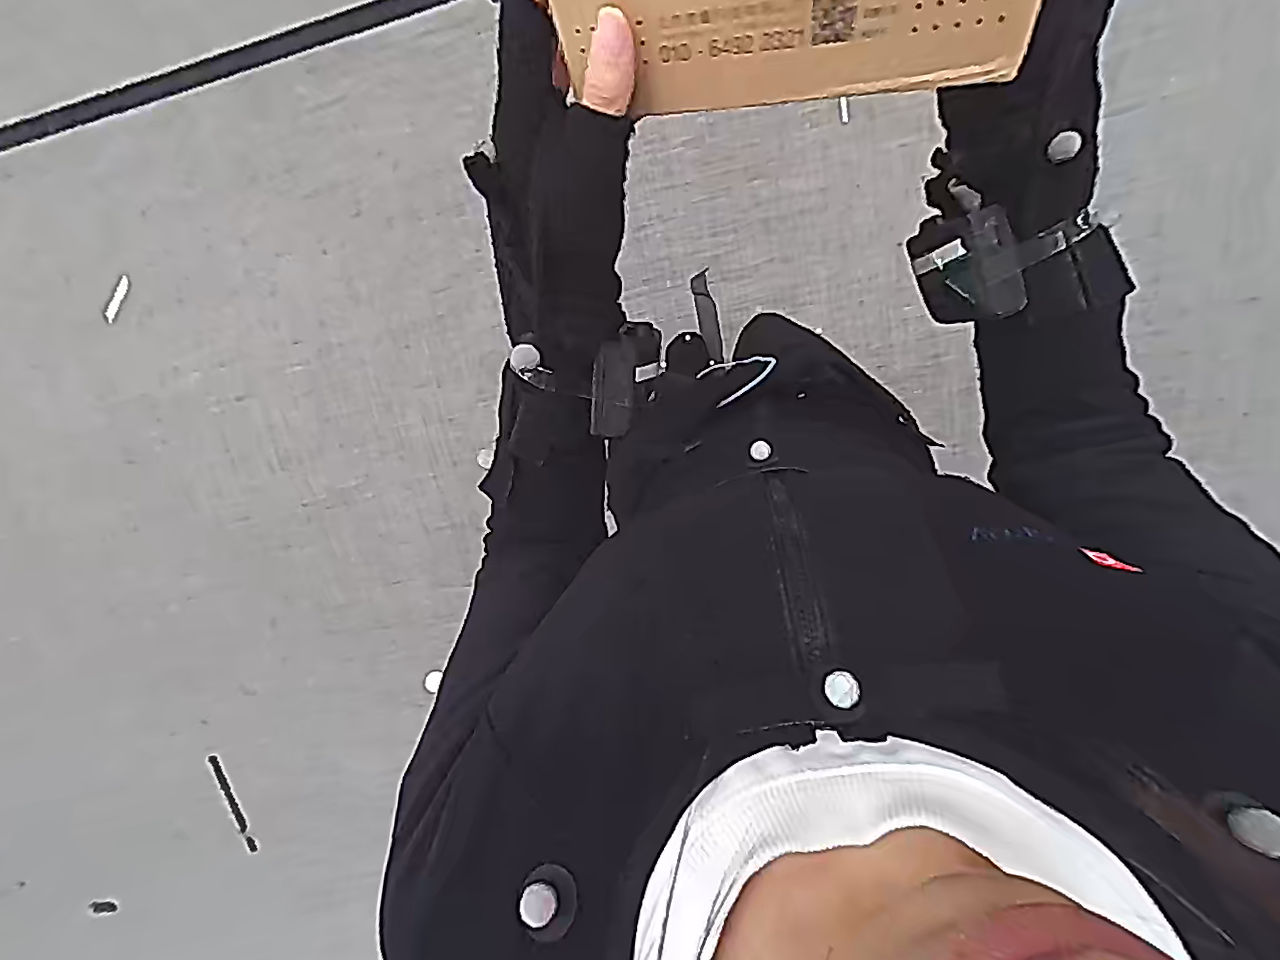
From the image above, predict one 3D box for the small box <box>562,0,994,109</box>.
[{"bbox_3d":[0.058,-0.267,0.202,0.168,0.176,0.179,10,61,21],"label":"small box"}]
